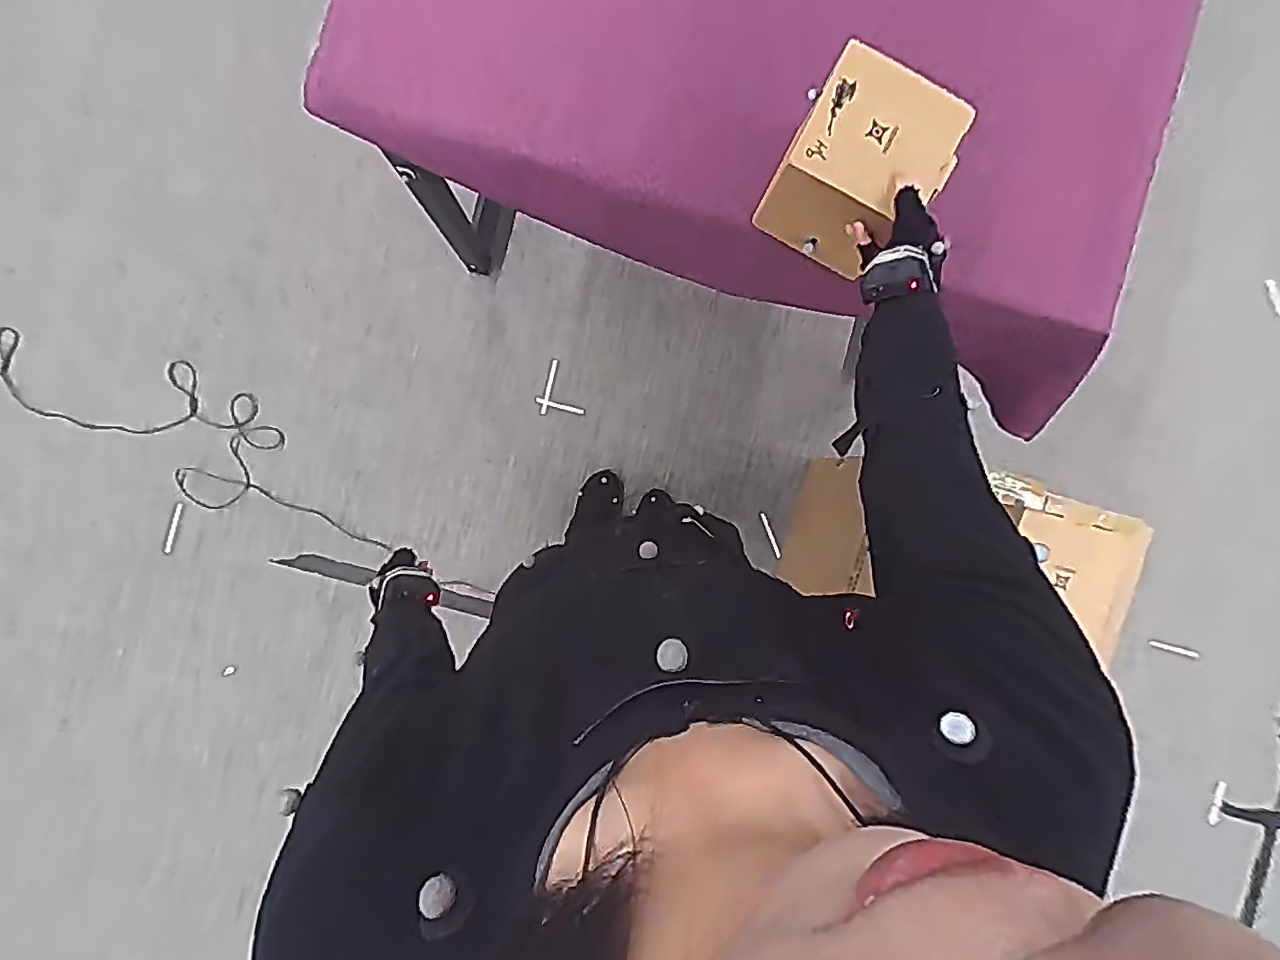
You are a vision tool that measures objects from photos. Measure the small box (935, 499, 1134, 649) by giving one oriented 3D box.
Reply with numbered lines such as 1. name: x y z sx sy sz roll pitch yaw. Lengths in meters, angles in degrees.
1. small box: 0.597 0.134 0.844 0.168 0.176 0.179 16 92 -1

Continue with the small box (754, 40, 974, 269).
1. small box: 0.280 -0.405 0.714 0.179 0.176 0.168 27 89 -4
